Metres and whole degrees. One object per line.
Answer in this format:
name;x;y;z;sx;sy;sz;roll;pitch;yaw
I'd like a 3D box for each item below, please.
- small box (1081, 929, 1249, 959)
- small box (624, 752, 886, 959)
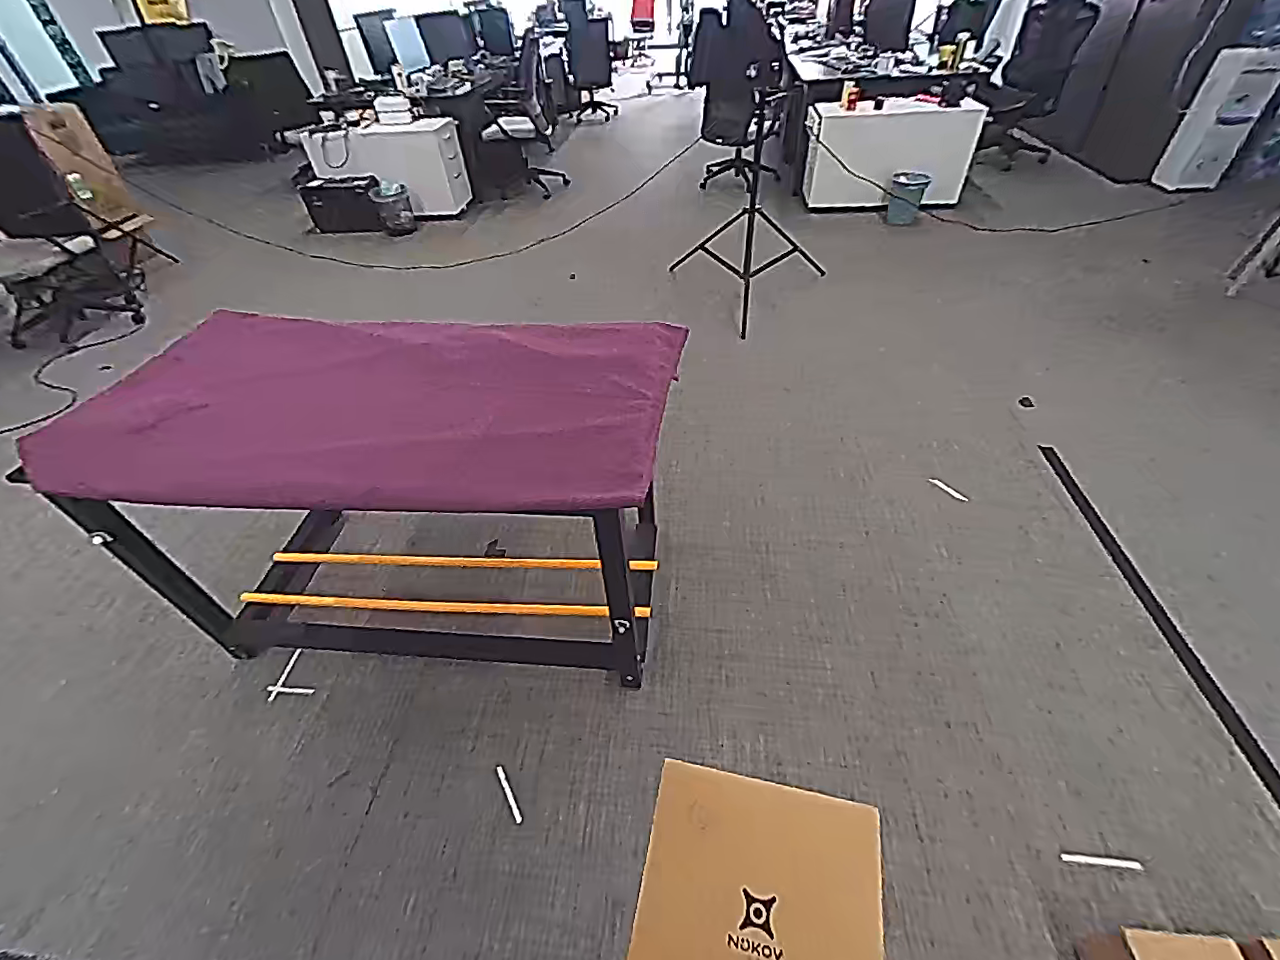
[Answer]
small box;0.899;0.871;0.899;0.179;0.176;0.168;1;44;6
small box;0.083;0.343;0.423;0.168;0.176;0.179;7;51;12
